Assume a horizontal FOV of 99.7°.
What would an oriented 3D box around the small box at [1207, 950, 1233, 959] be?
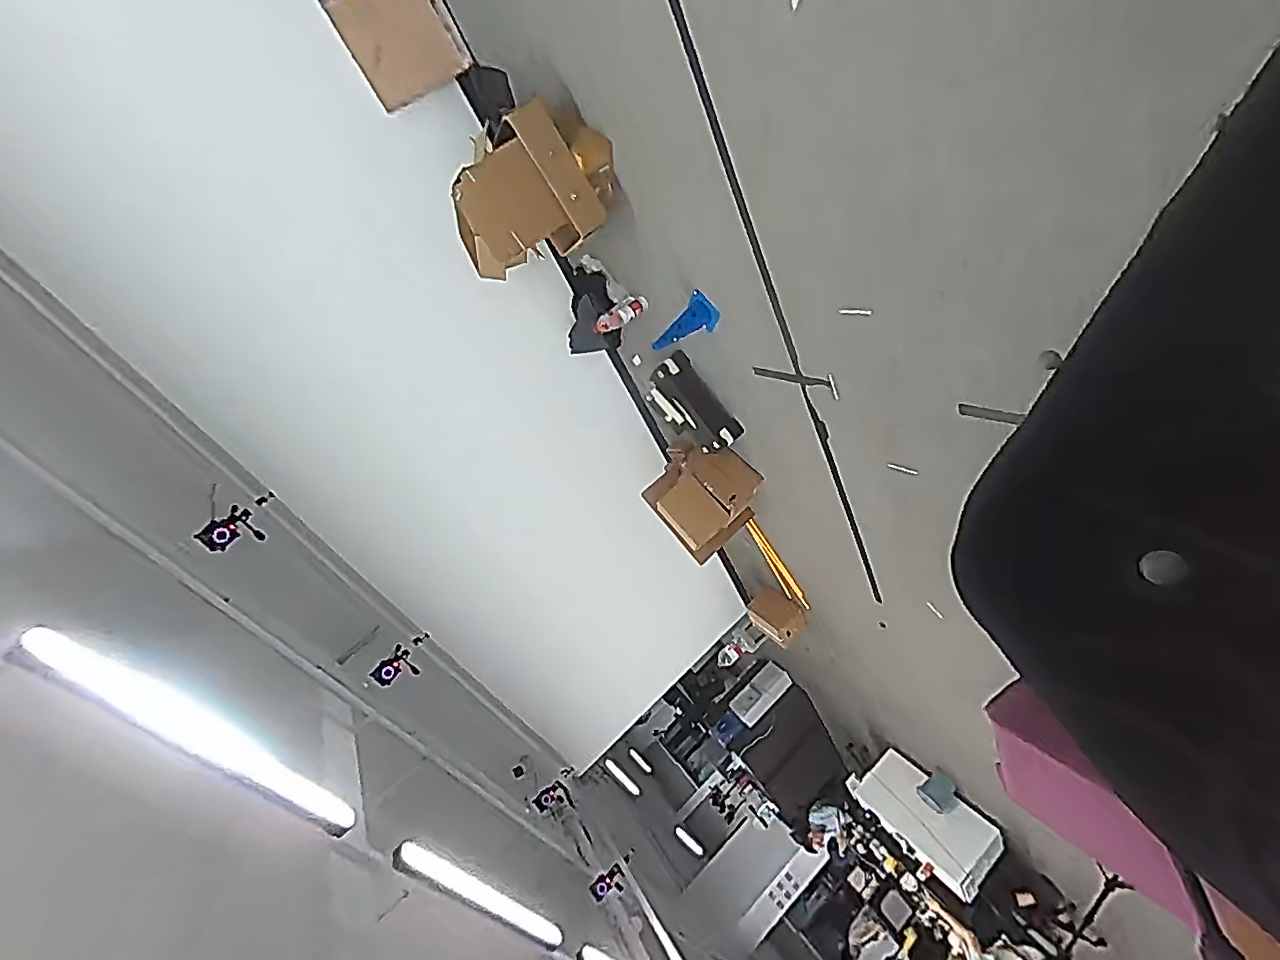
[{"bbox_3d":[1.402,1.253,1.249,0.179,0.176,0.168,30,156,53],"label":"small box"}]
